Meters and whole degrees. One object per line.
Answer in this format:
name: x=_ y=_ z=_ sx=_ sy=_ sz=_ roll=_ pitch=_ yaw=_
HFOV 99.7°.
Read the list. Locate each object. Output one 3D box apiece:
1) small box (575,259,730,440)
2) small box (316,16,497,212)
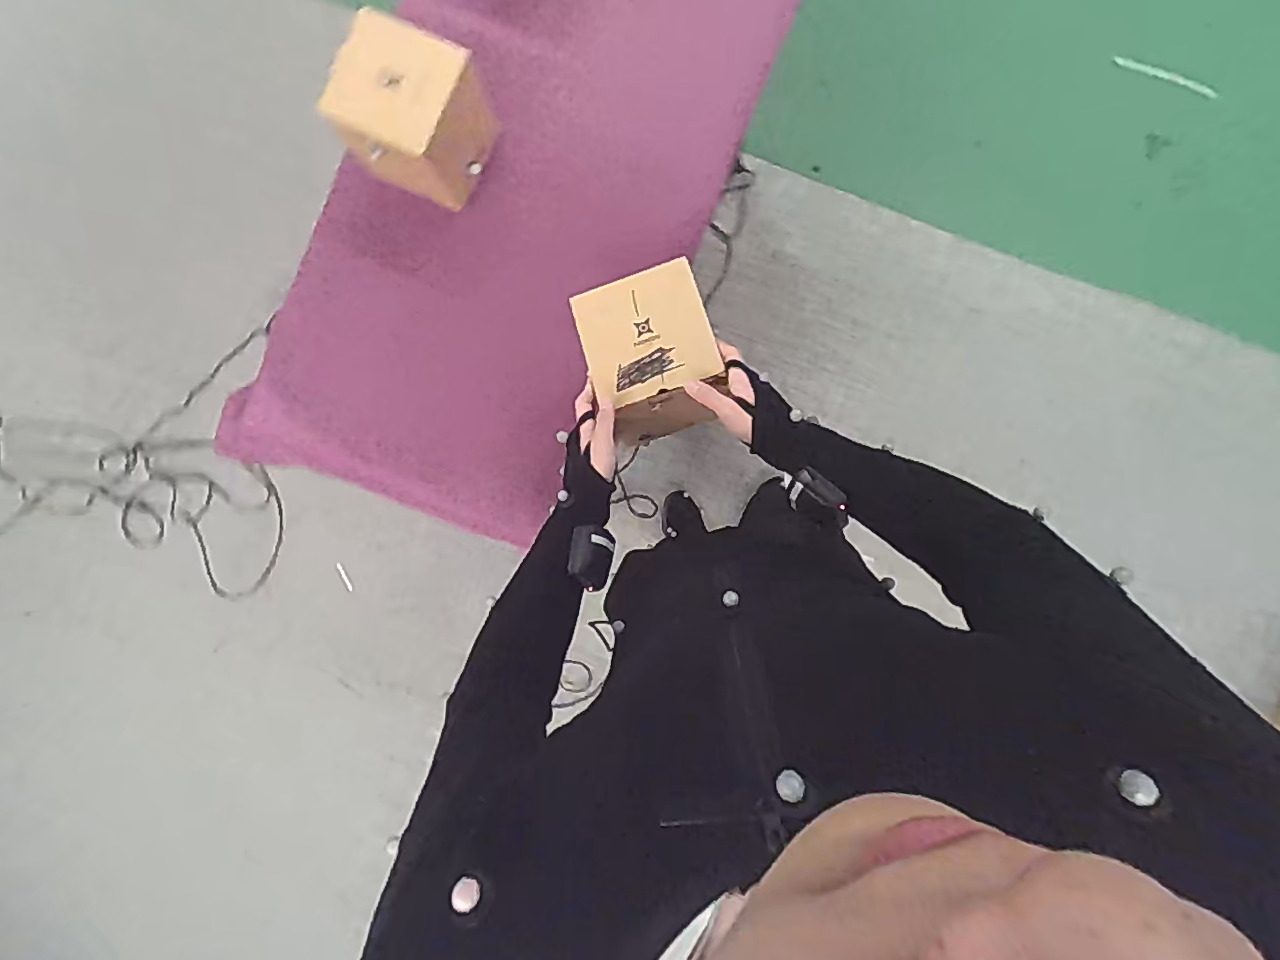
small box: x=0.026 y=-0.168 z=0.765 sx=0.168 sy=0.176 sz=0.179 roll=-17 pitch=75 yaw=7
small box: x=-0.356 y=-0.564 z=0.859 sx=0.179 sy=0.176 sz=0.168 roll=25 pitch=90 yaw=2
